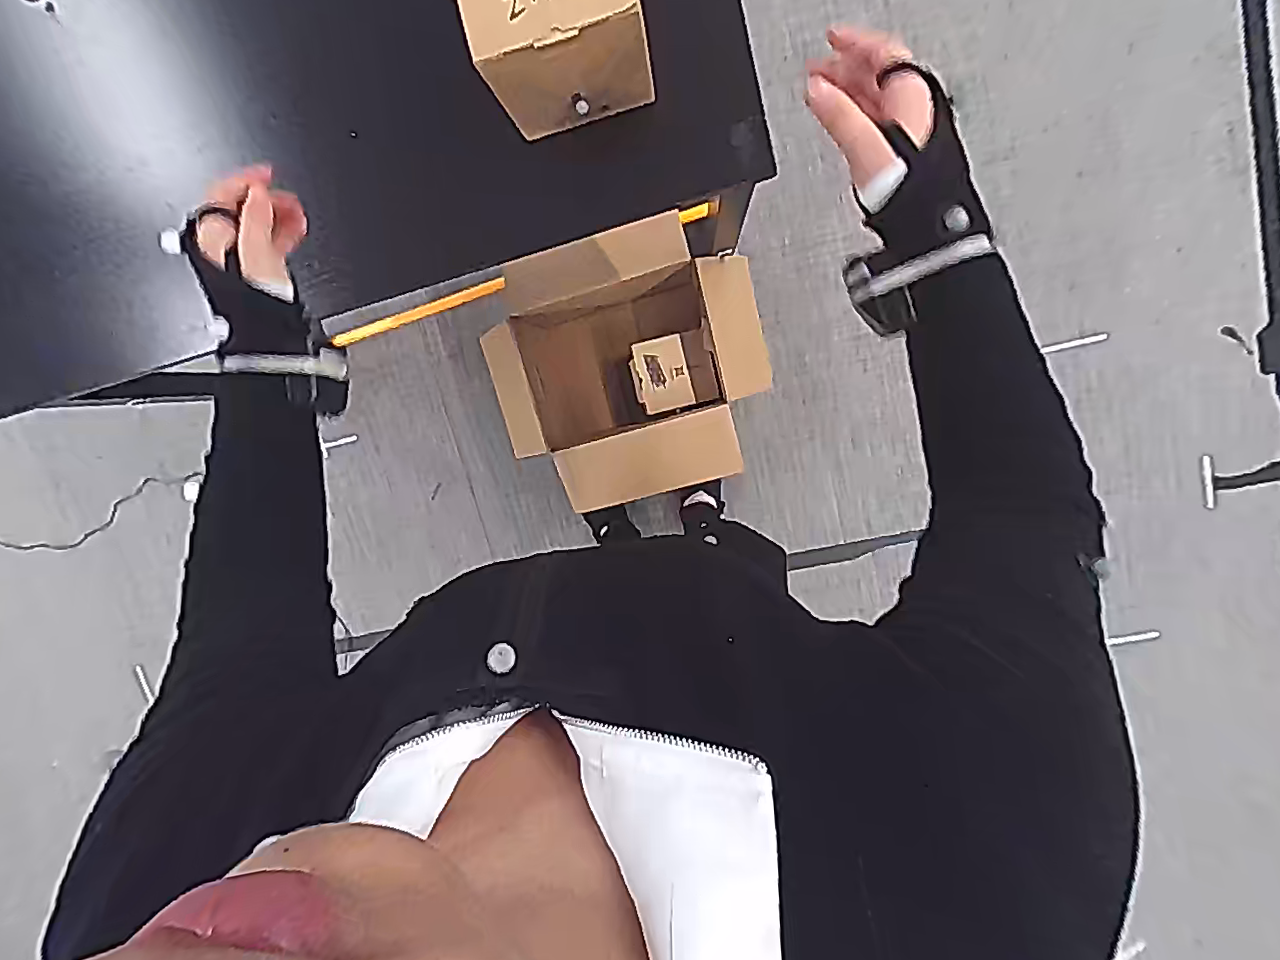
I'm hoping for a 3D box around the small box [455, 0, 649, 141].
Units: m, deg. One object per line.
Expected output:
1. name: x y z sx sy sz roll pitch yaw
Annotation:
1. small box: -0.092 -0.502 0.569 0.168 0.176 0.179 -12 98 8
